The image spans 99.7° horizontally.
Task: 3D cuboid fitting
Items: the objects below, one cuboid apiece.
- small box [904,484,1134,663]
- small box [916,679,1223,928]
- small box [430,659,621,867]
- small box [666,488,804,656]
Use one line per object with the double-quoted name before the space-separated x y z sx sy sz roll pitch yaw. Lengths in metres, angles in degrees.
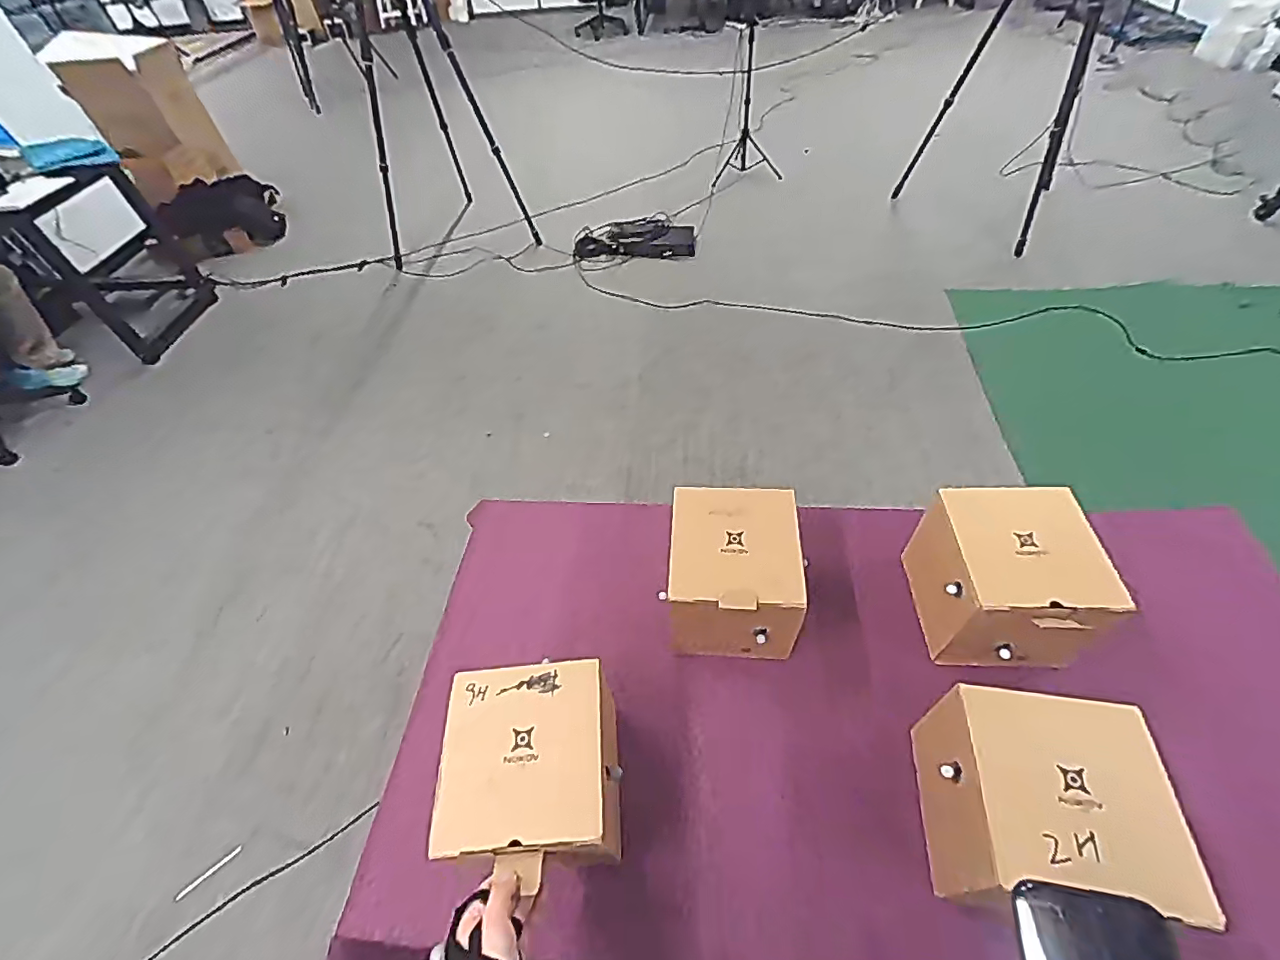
"small box" 0.474 0.124 0.716 0.168 0.176 0.179 -1 51 5
"small box" 0.400 0.328 0.551 0.168 0.176 0.179 4 51 10
"small box" -0.115 0.325 0.613 0.168 0.176 0.179 -6 50 1
"small box" 0.126 0.131 0.750 0.168 0.176 0.179 1 50 6
